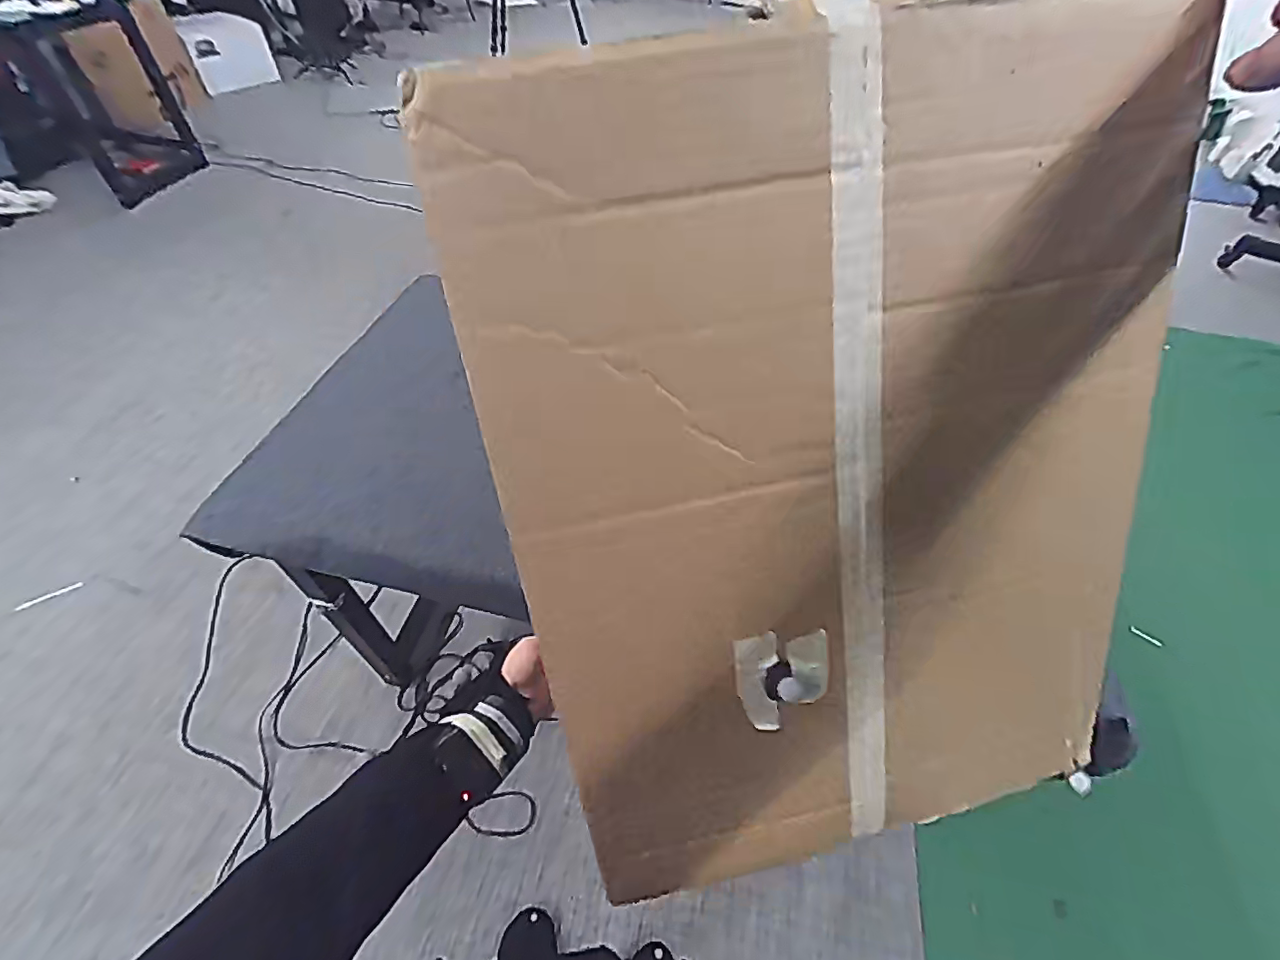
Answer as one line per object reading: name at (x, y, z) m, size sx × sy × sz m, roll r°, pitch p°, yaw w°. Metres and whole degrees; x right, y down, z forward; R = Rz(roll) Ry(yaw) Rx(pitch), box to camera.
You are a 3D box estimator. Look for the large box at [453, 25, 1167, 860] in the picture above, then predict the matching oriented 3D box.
large box at (0.082, -0.029, 0.418) m, size 0.320 × 0.408 × 0.320 m, roll -13°, pitch 22°, yaw -7°
